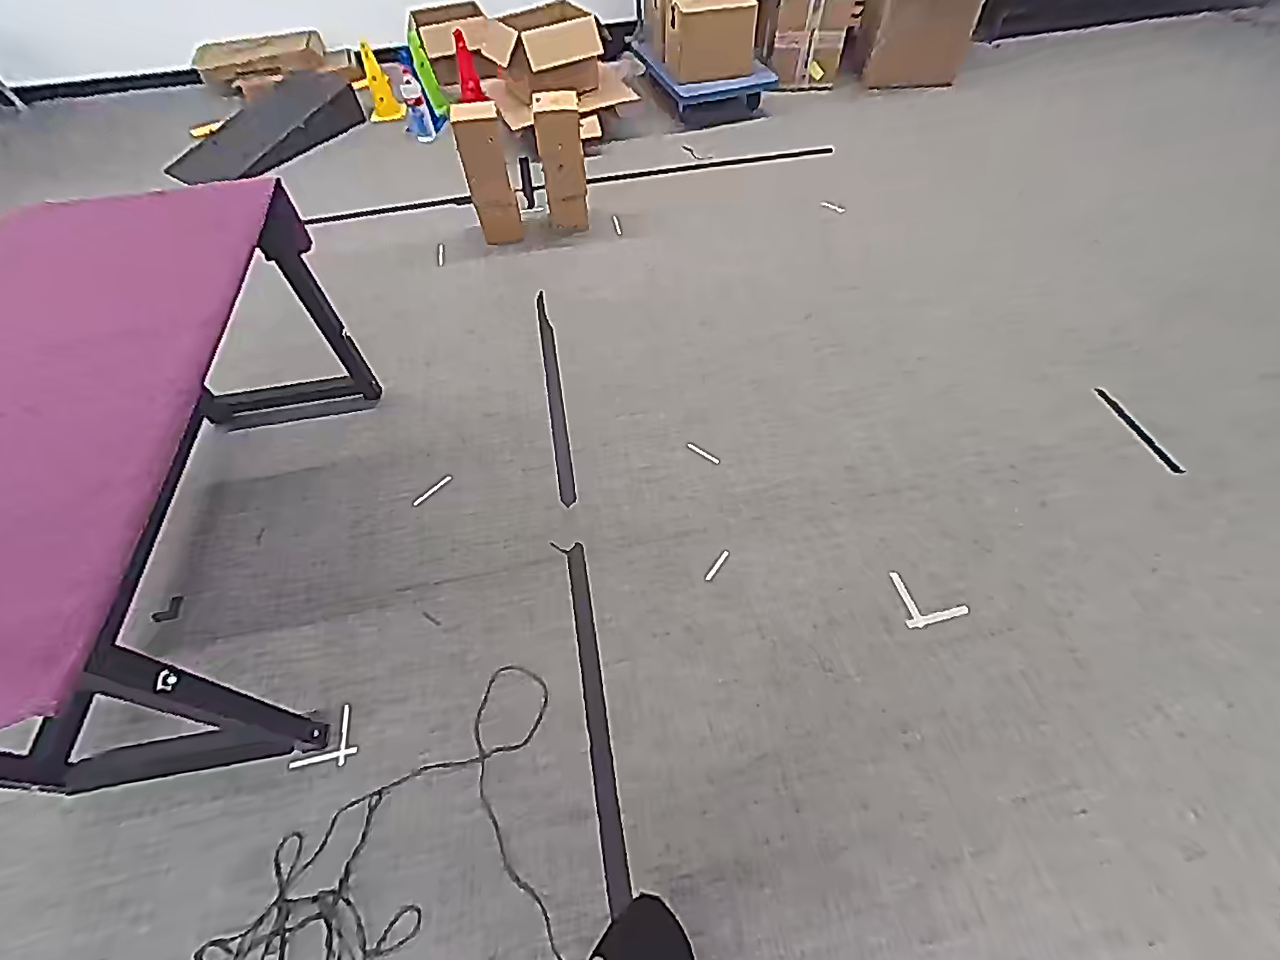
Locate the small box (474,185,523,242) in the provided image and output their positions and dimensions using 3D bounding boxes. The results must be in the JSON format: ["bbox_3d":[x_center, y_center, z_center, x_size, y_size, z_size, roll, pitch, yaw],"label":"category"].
[{"bbox_3d":[-0.626,-1.181,2.402,0.179,0.176,0.168,-9,56,-5],"label":"small box"}]

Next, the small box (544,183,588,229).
[{"bbox_3d":[-0.333,-1.252,2.441,0.168,0.176,0.179,-10,56,-6],"label":"small box"}]

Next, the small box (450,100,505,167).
[{"bbox_3d":[-0.636,-1.362,2.129,0.179,0.176,0.168,-11,54,-6],"label":"small box"}]

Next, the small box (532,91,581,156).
[{"bbox_3d":[-0.330,-1.420,2.158,0.179,0.176,0.168,-5,56,-4],"label":"small box"}]

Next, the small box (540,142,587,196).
[{"bbox_3d":[-0.327,-1.331,2.296,0.179,0.176,0.168,-8,57,-5],"label":"small box"}]
